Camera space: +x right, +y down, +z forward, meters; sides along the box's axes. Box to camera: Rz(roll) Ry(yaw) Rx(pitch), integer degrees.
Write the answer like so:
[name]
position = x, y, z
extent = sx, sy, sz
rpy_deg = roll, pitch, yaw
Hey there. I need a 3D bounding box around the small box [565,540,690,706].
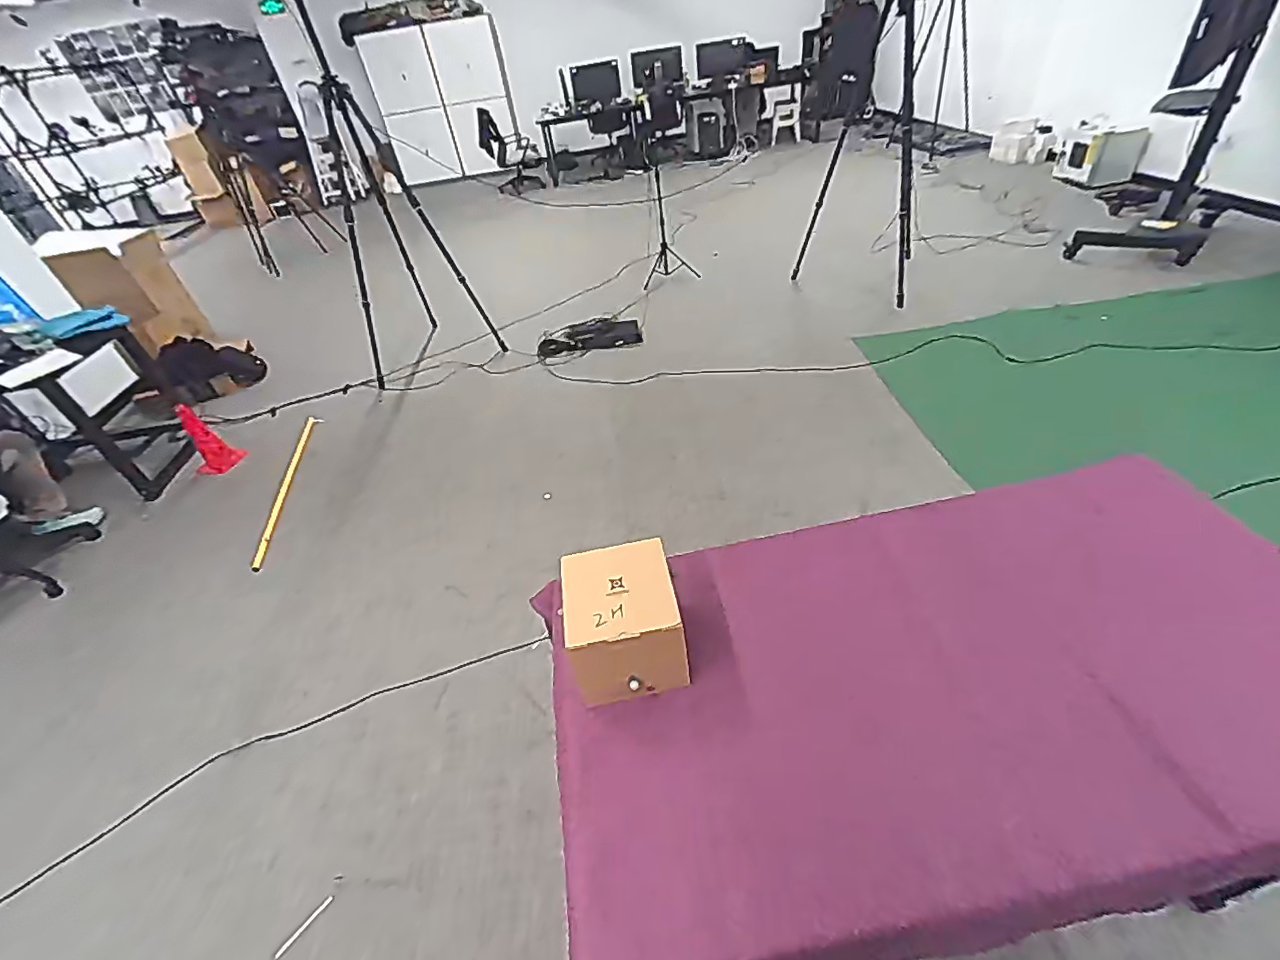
[small box]
position = -0.020, 0.226, 0.860
extent = 0.168, 0.176, 0.179
rpy_deg = -12, 40, -1
